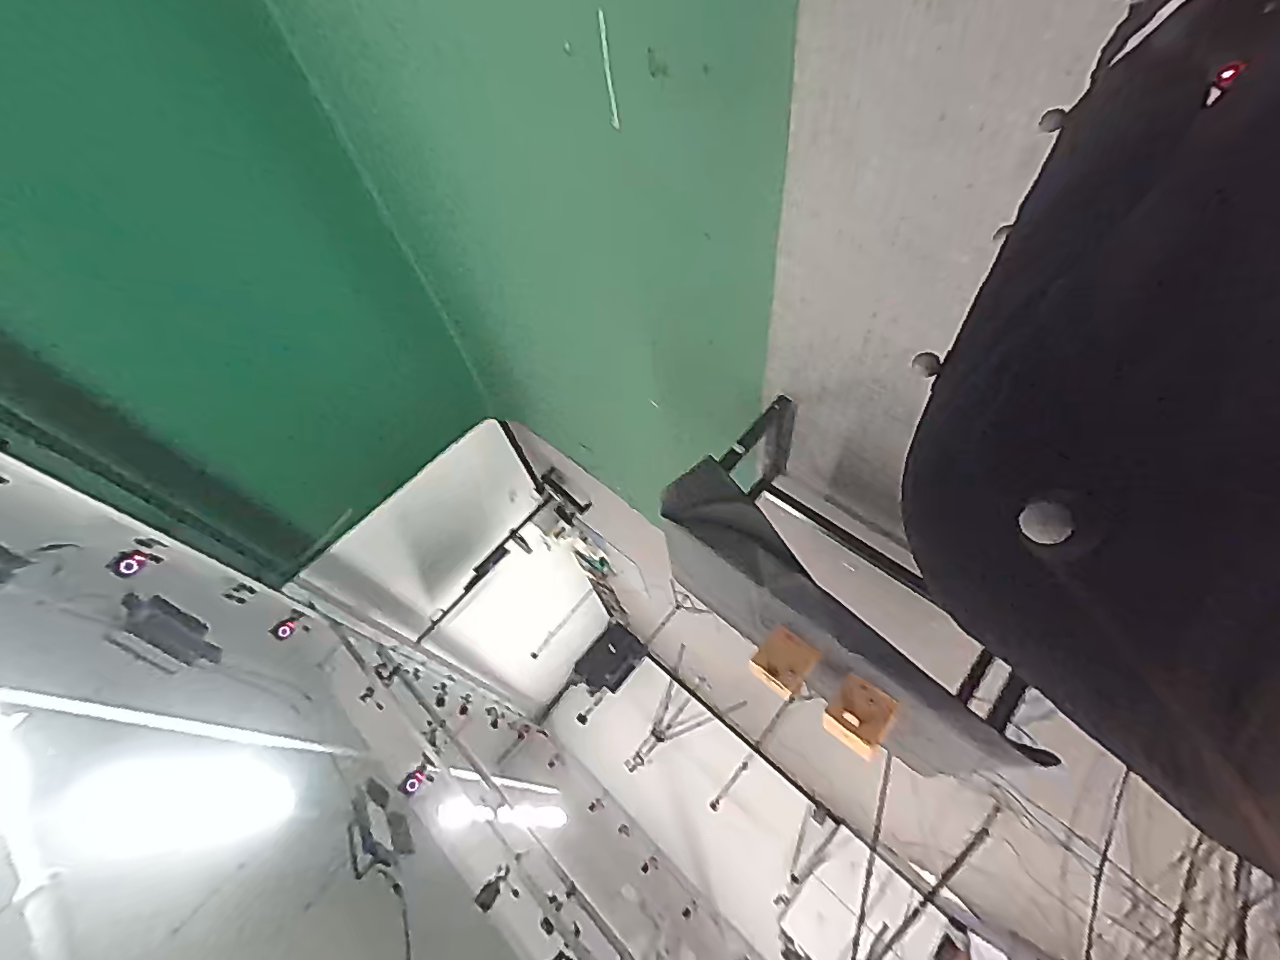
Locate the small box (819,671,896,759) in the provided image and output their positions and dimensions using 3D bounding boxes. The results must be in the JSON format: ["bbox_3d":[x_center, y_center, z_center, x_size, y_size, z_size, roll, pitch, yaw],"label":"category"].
[{"bbox_3d":[0.691,0.745,1.720,0.168,0.176,0.179,31,156,36],"label":"small box"}]
